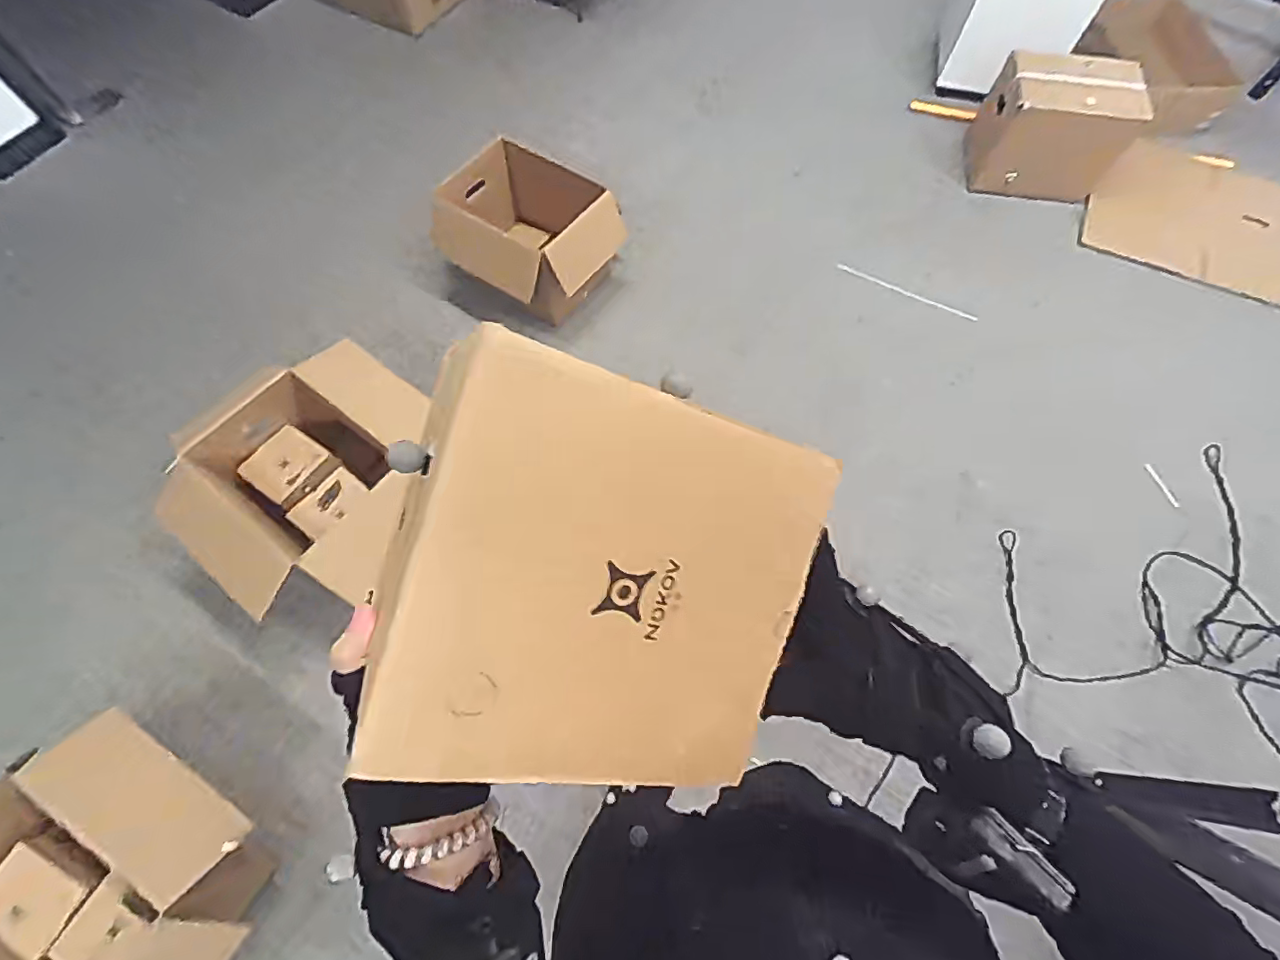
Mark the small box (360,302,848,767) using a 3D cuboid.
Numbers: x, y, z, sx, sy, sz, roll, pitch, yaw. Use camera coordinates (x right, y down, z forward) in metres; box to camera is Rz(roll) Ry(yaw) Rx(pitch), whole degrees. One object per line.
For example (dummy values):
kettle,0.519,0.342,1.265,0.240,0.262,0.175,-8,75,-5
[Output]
small box,-0.032,0.025,0.295,0.179,0.176,0.168,17,93,-27
